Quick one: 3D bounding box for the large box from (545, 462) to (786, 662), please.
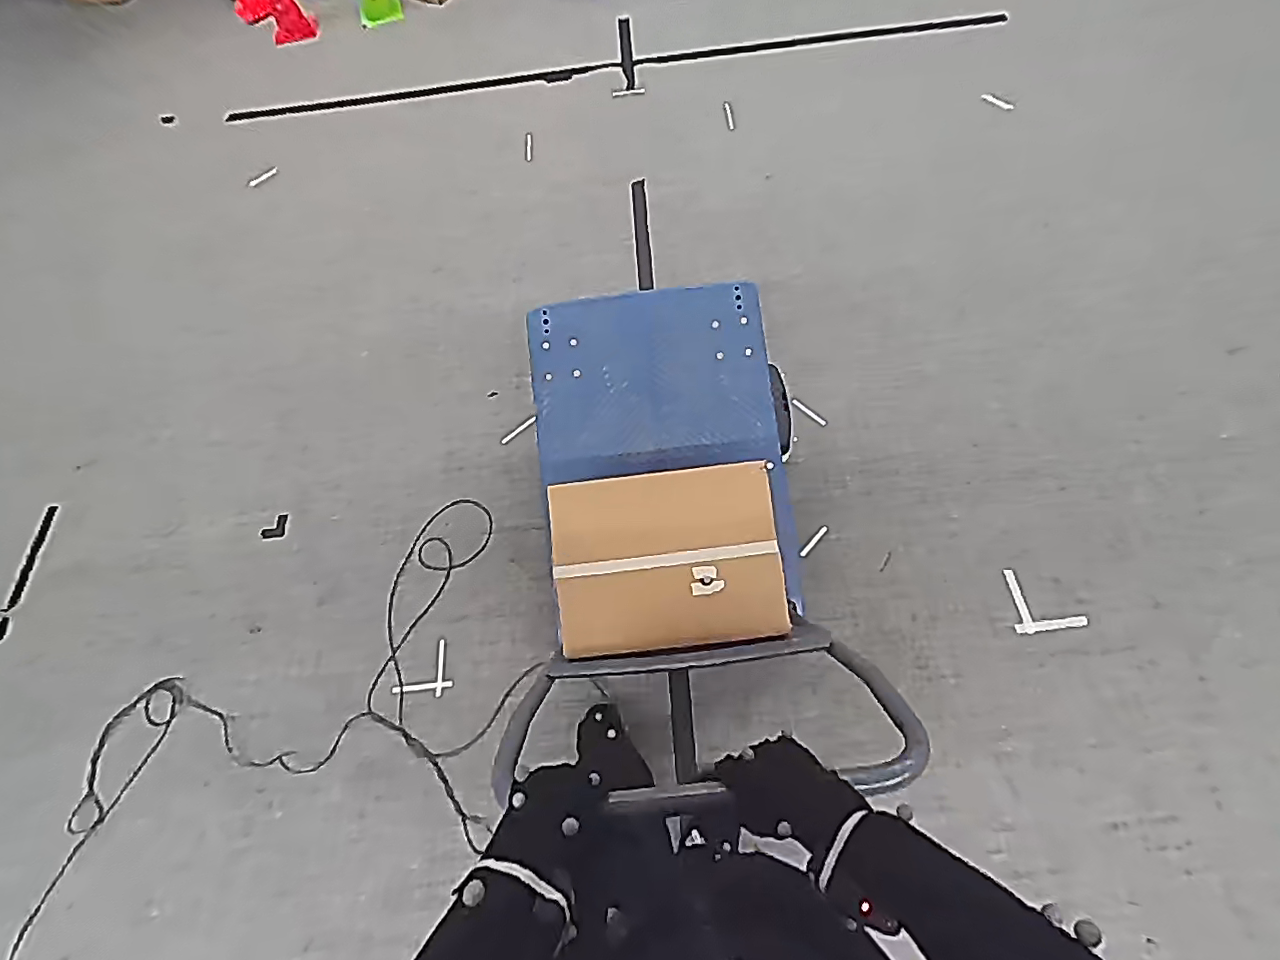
[{"bbox_3d":[0.043,0.161,1.111,0.408,0.320,0.320,-7,84,0],"label":"large box"}]
